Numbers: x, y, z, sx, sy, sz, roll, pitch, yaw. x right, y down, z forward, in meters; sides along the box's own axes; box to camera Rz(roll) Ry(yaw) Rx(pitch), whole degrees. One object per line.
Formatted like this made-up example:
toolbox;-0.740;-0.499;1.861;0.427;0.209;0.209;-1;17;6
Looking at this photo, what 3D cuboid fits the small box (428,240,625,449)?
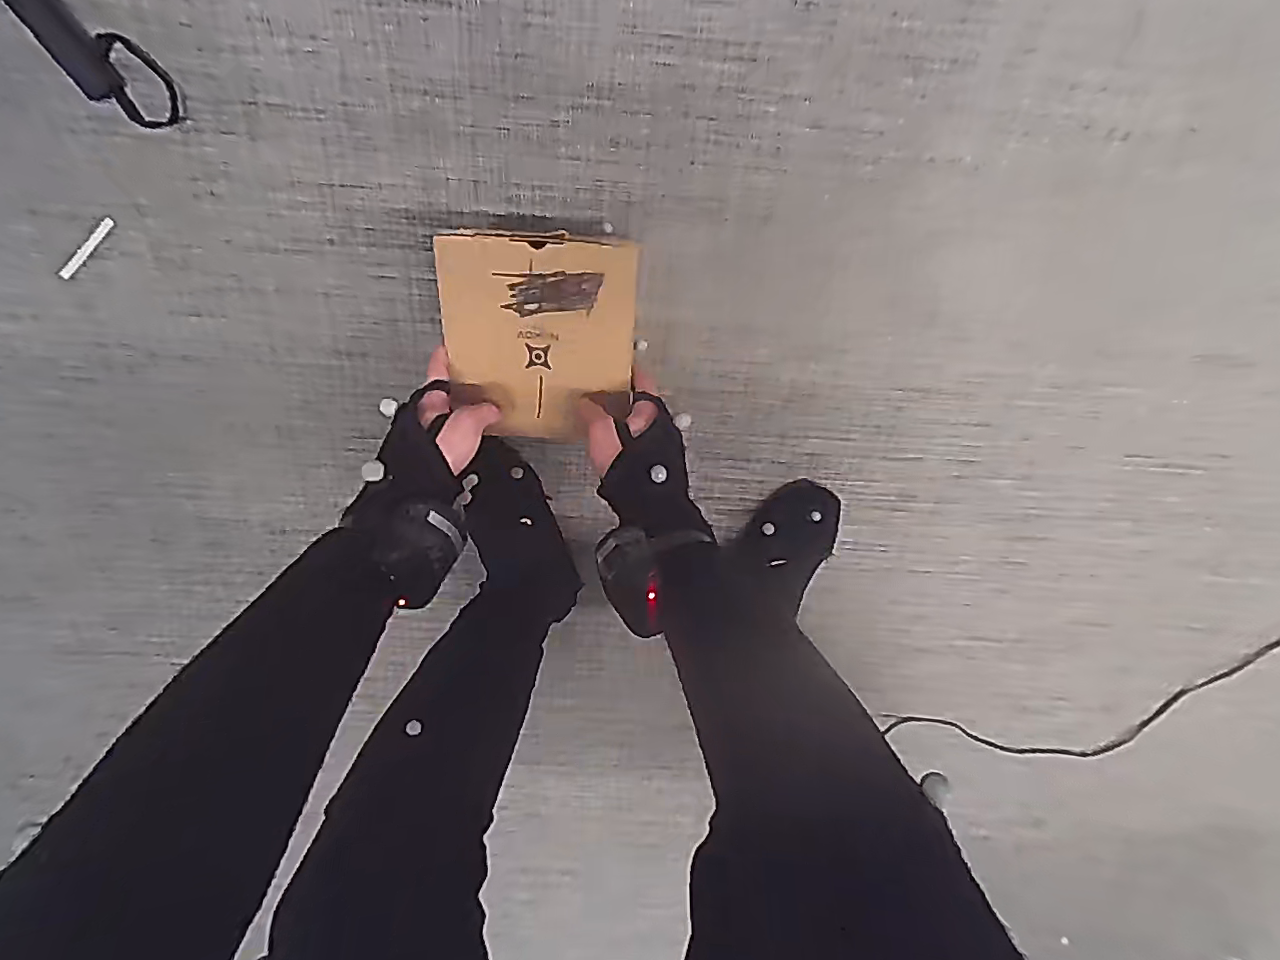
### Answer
small box;-0.102;-0.147;0.561;0.168;0.176;0.179;3;118;-1
